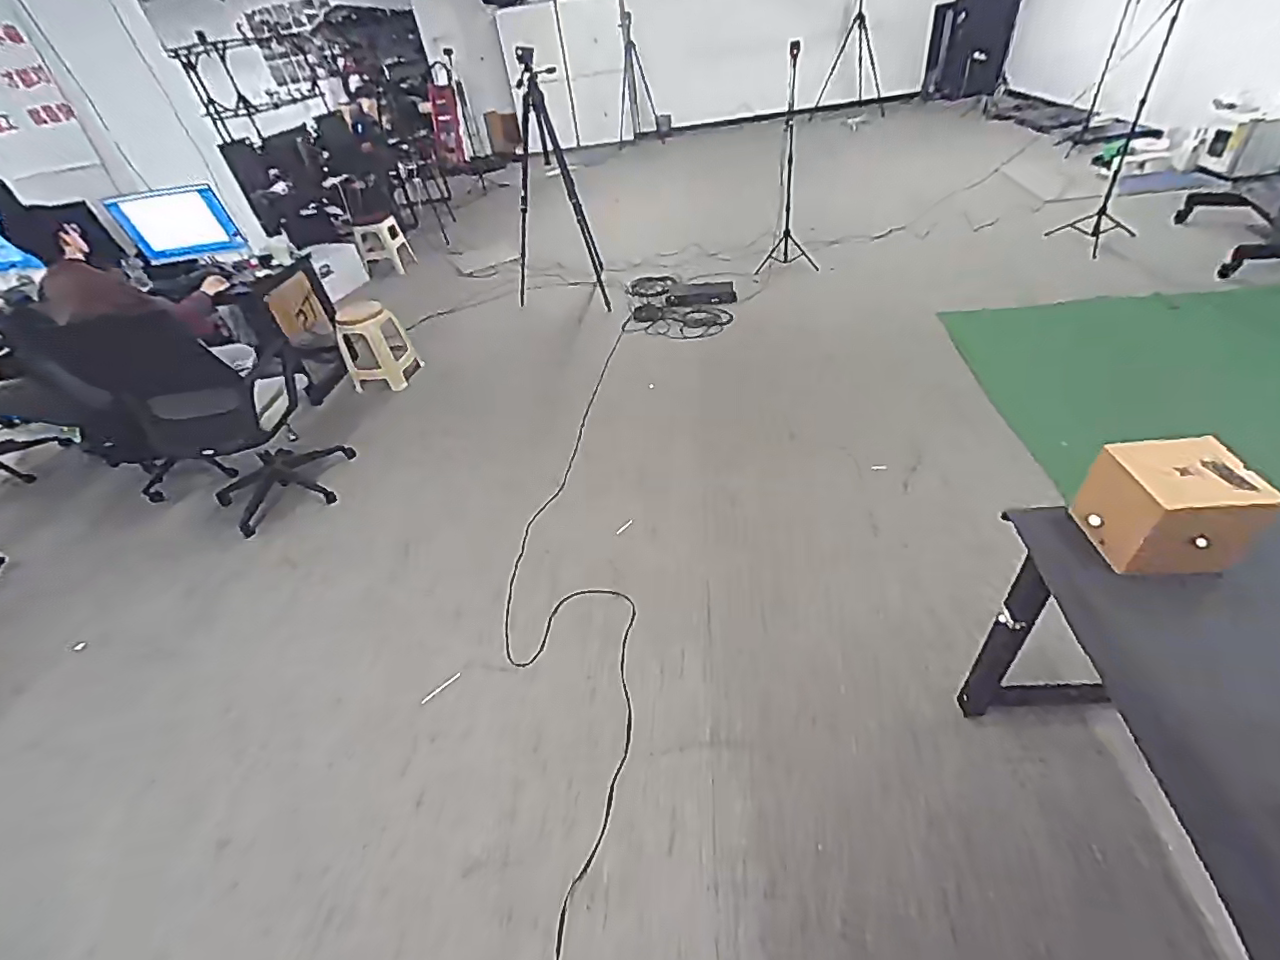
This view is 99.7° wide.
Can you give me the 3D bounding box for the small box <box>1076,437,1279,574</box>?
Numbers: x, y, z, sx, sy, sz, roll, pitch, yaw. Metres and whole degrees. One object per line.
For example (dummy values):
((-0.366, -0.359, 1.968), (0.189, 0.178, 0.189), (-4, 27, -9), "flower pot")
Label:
((0.908, 0.046, 0.925), (0.179, 0.176, 0.168), (-4, 41, 8), "small box")
